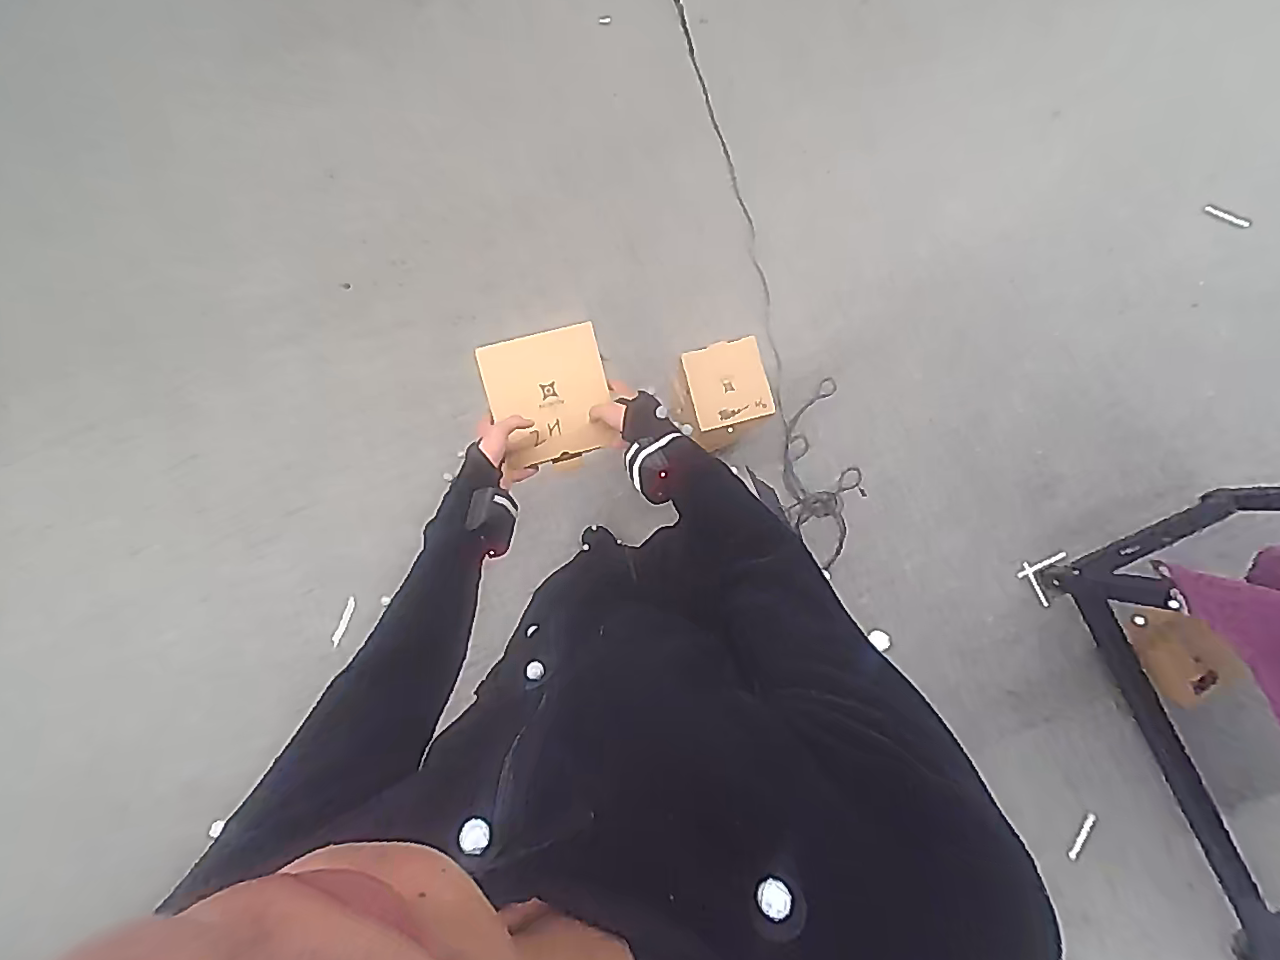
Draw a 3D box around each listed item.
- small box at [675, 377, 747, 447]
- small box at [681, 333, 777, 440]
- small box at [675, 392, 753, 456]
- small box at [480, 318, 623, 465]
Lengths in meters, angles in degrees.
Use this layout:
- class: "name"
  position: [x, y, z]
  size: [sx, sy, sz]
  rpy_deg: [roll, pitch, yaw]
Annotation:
- class: "small box"
  position: [0.199, -0.195, 1.382]
  size: [0.179, 0.176, 0.168]
  rpy_deg: [-22, 85, 1]
- class: "small box"
  position: [0.191, -0.204, 1.218]
  size: [0.168, 0.176, 0.179]
  rpy_deg: [-14, 85, 1]
- class: "small box"
  position: [0.204, -0.184, 1.544]
  size: [0.168, 0.176, 0.179]
  rpy_deg: [-23, 86, 1]
- class: "small box"
  position: [-0.128, -0.128, 0.825]
  size: [0.168, 0.176, 0.179]
  rpy_deg: [-14, 97, -3]
